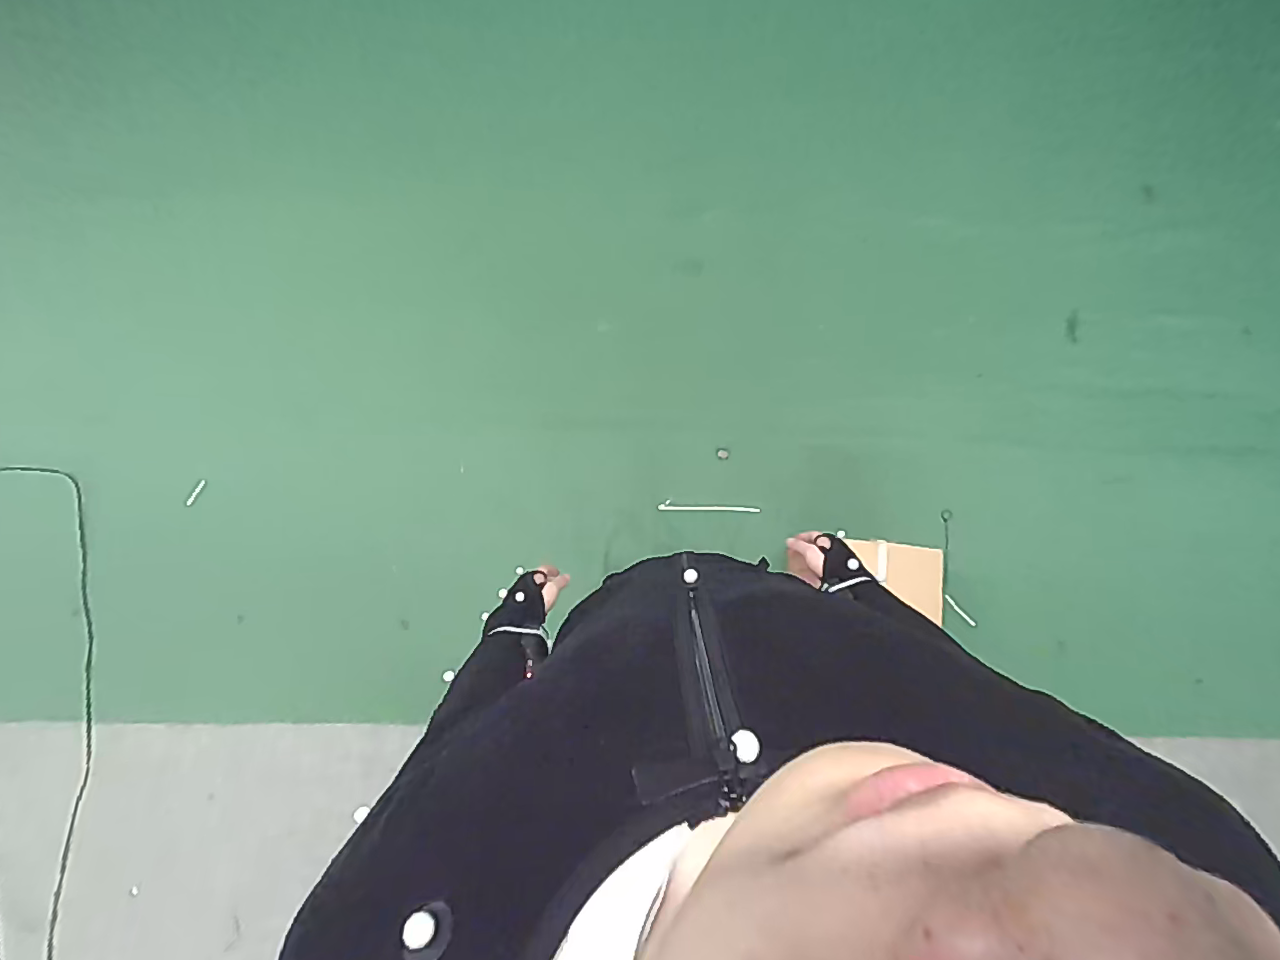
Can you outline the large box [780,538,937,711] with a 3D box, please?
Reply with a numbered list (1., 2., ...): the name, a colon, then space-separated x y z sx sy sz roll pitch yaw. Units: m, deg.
1. large box: 0.585 0.380 1.494 0.320 0.320 0.408 6 80 1
